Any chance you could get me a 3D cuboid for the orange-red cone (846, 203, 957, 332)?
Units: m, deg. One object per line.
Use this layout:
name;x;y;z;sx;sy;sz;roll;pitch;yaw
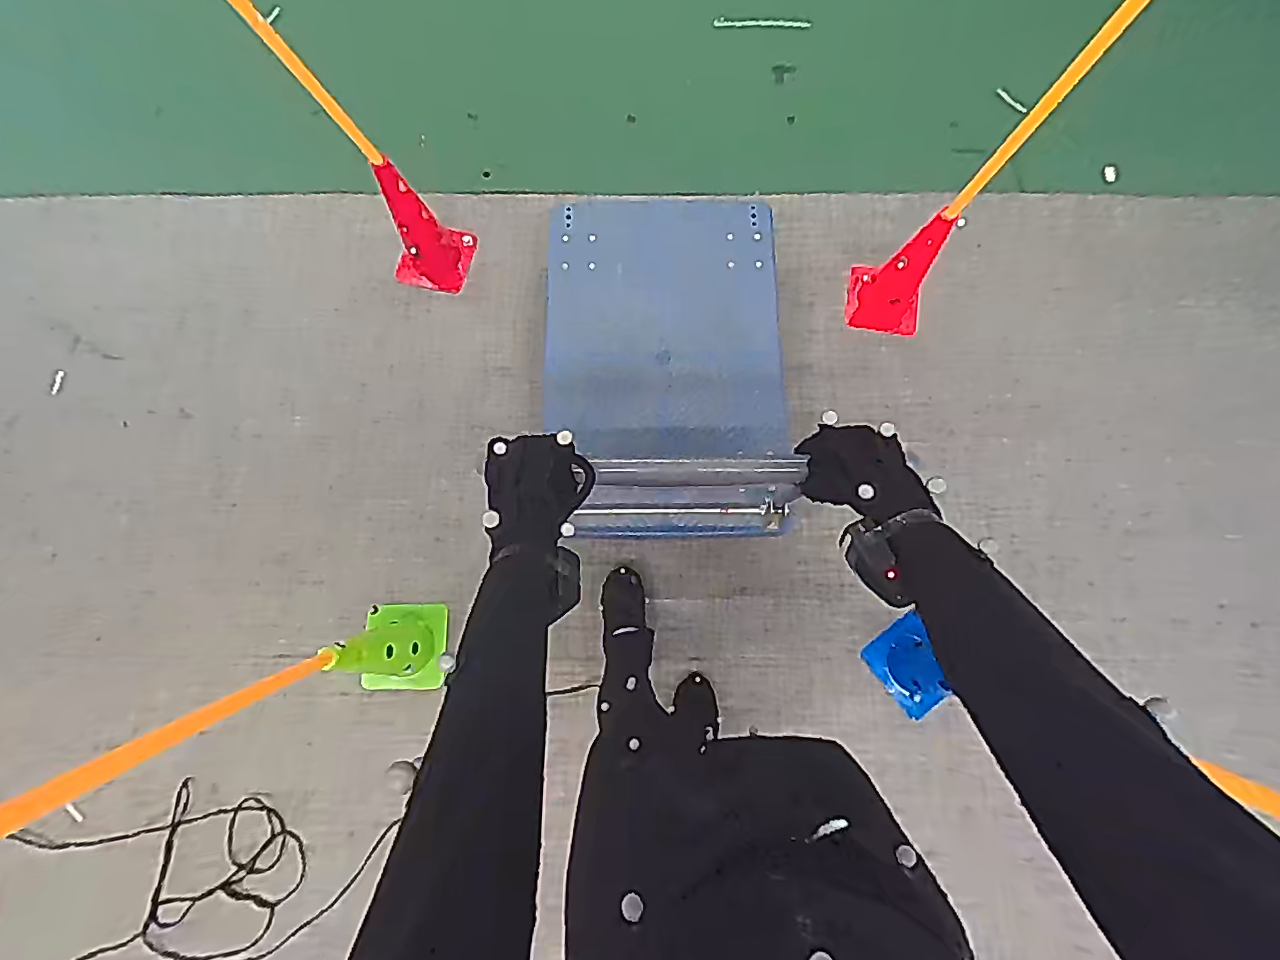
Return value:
orange-red cone;0.685;-0.554;1.356;0.198;0.360;0.199;11;78;4
